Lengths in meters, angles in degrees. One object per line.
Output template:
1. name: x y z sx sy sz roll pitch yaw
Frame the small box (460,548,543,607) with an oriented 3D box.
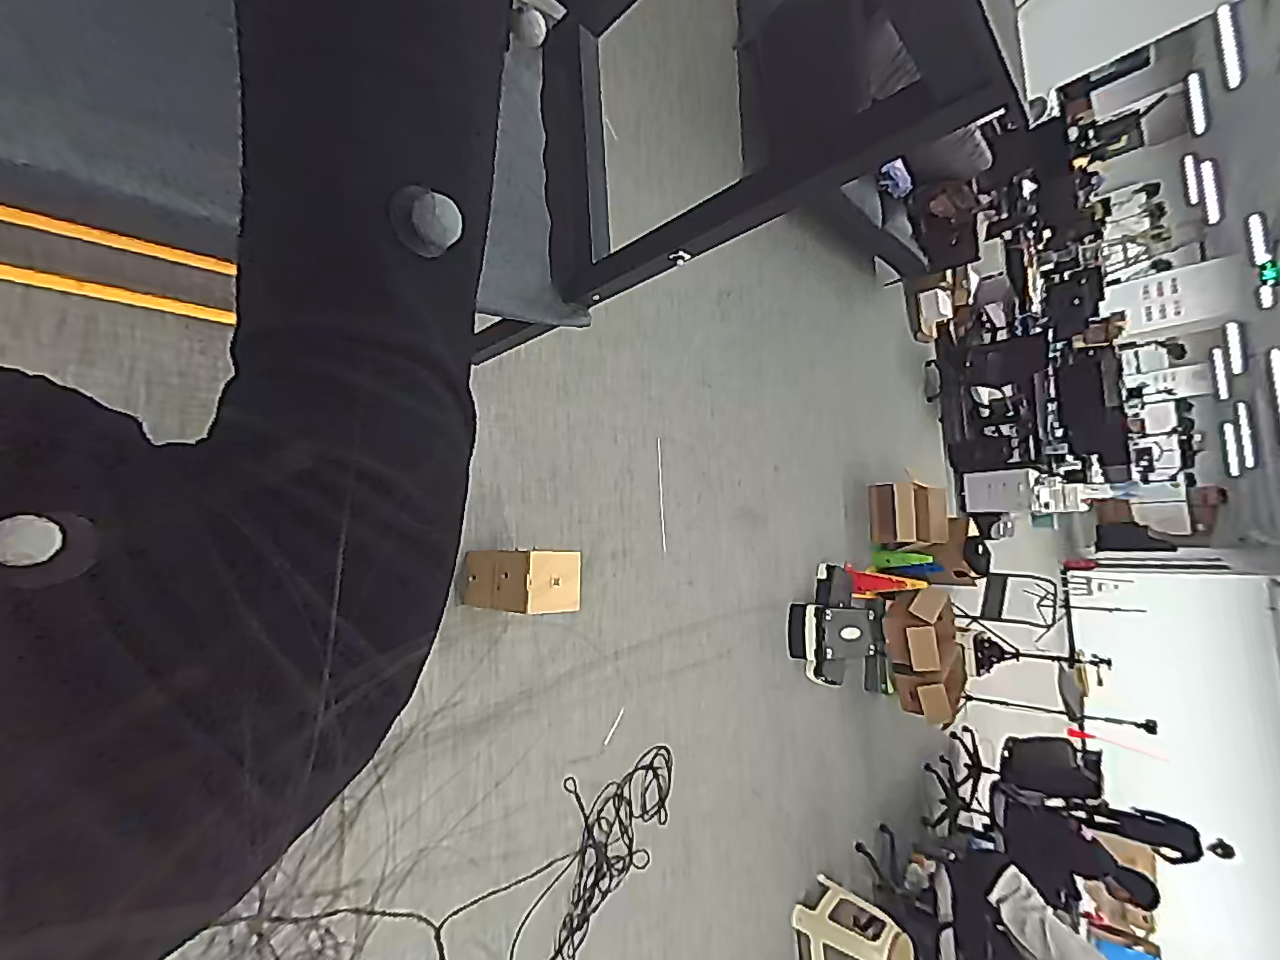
1. small box: -0.416 0.291 1.629 0.179 0.176 0.168 11 77 -44
